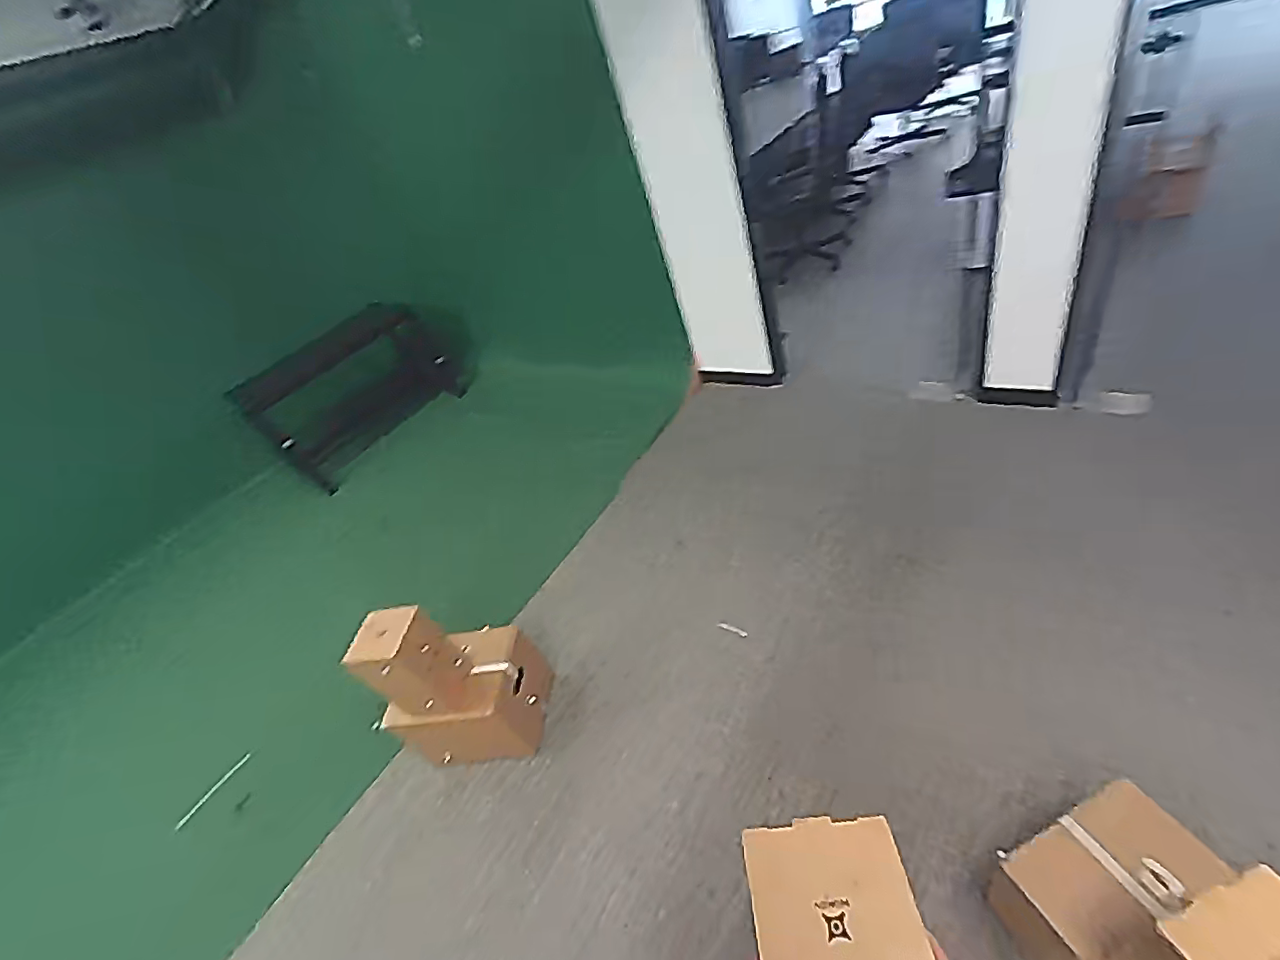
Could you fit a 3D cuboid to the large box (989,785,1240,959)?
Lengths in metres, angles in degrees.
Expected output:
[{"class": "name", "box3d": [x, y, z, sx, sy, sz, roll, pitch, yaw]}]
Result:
[{"class": "large box", "box3d": [0.925, 0.866, 0.966, 0.320, 0.320, 0.408, -27, 37, -7]}]

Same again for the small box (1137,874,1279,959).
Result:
[{"class": "small box", "box3d": [0.771, 0.632, 0.656, 0.168, 0.176, 0.179, -27, 37, -3]}]

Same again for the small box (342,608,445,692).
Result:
[{"class": "small box", "box3d": [-0.695, 0.490, 1.548, 0.179, 0.176, 0.168, -10, 39, 16]}]

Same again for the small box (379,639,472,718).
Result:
[{"class": "small box", "box3d": [-0.644, 0.609, 1.650, 0.179, 0.176, 0.168, -12, 39, 15]}]

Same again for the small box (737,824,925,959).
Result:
[{"class": "small box", "box3d": [0.205, 0.511, 0.589, 0.168, 0.176, 0.179, -11, 37, 6]}]
